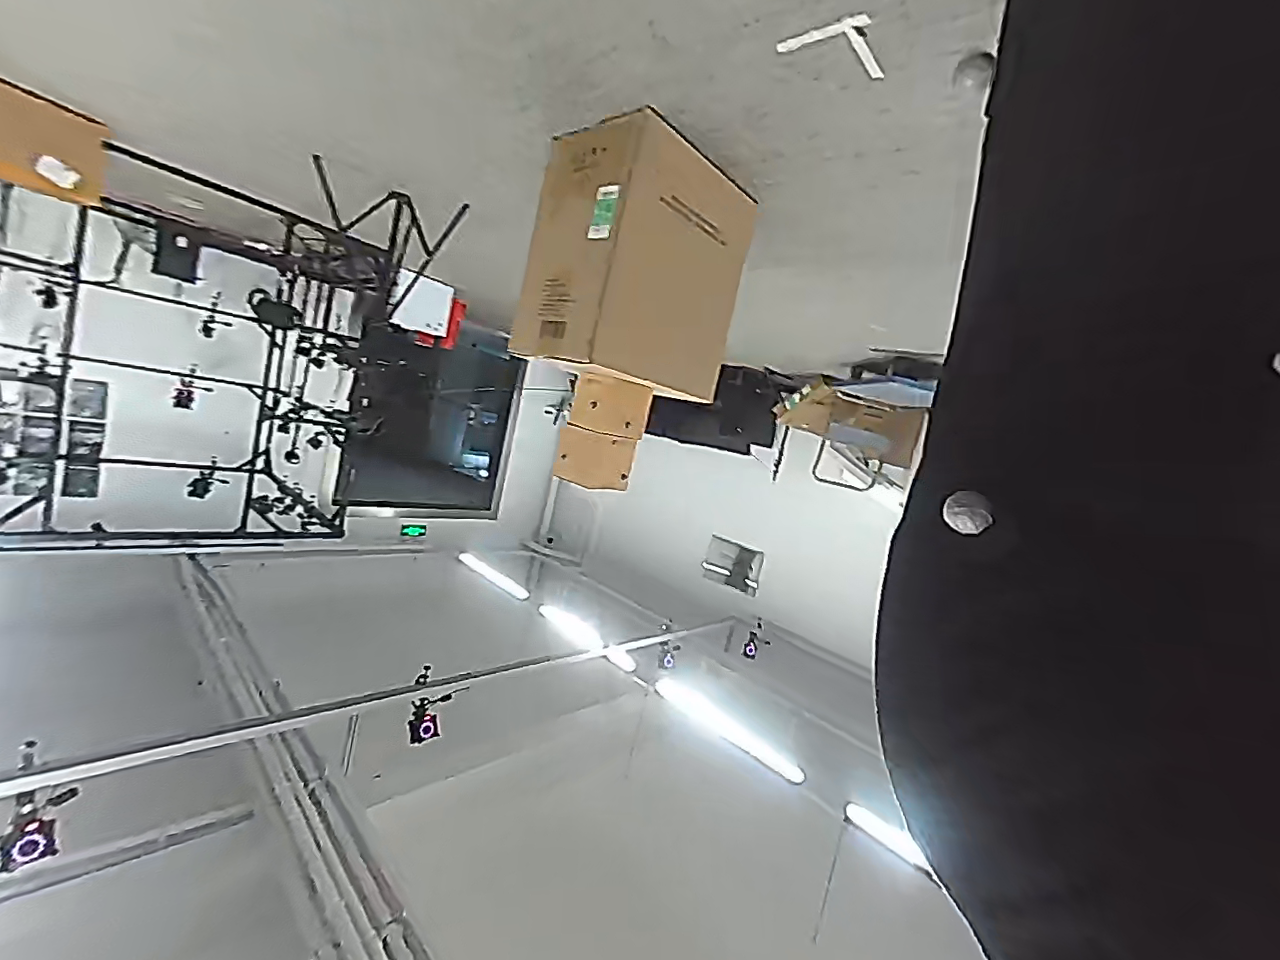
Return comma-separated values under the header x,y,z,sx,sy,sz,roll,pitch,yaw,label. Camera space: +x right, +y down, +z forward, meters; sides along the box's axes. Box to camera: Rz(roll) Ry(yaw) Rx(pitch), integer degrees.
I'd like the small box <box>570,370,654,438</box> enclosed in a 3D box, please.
x,y,z,sx,sy,sz,roll,pitch,yaw,label
-0.083,-0.232,1.650,0.168,0.176,0.179,18,-171,42,small box
